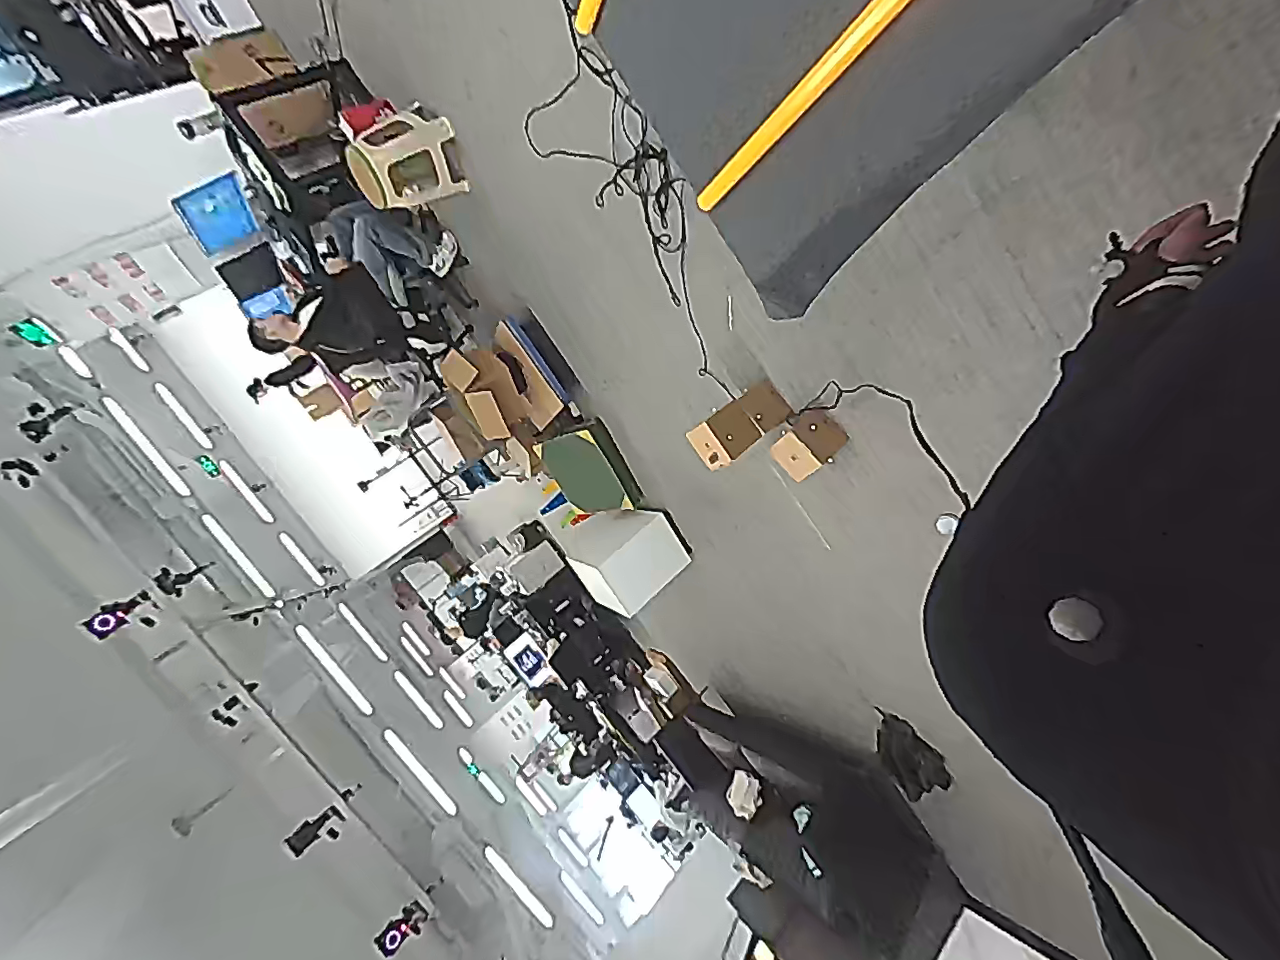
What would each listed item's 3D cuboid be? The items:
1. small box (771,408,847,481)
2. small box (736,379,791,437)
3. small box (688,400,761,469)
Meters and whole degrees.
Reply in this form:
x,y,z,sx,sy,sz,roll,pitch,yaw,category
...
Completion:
x,y,z,sx,sy,sz,roll,pitch,yaw,category
0.614,-0.129,1.951,0.168,0.176,0.179,49,158,8,small box
0.445,-0.256,2.071,0.168,0.176,0.179,51,157,2,small box
0.317,-0.169,2.011,0.179,0.176,0.168,54,157,-3,small box
